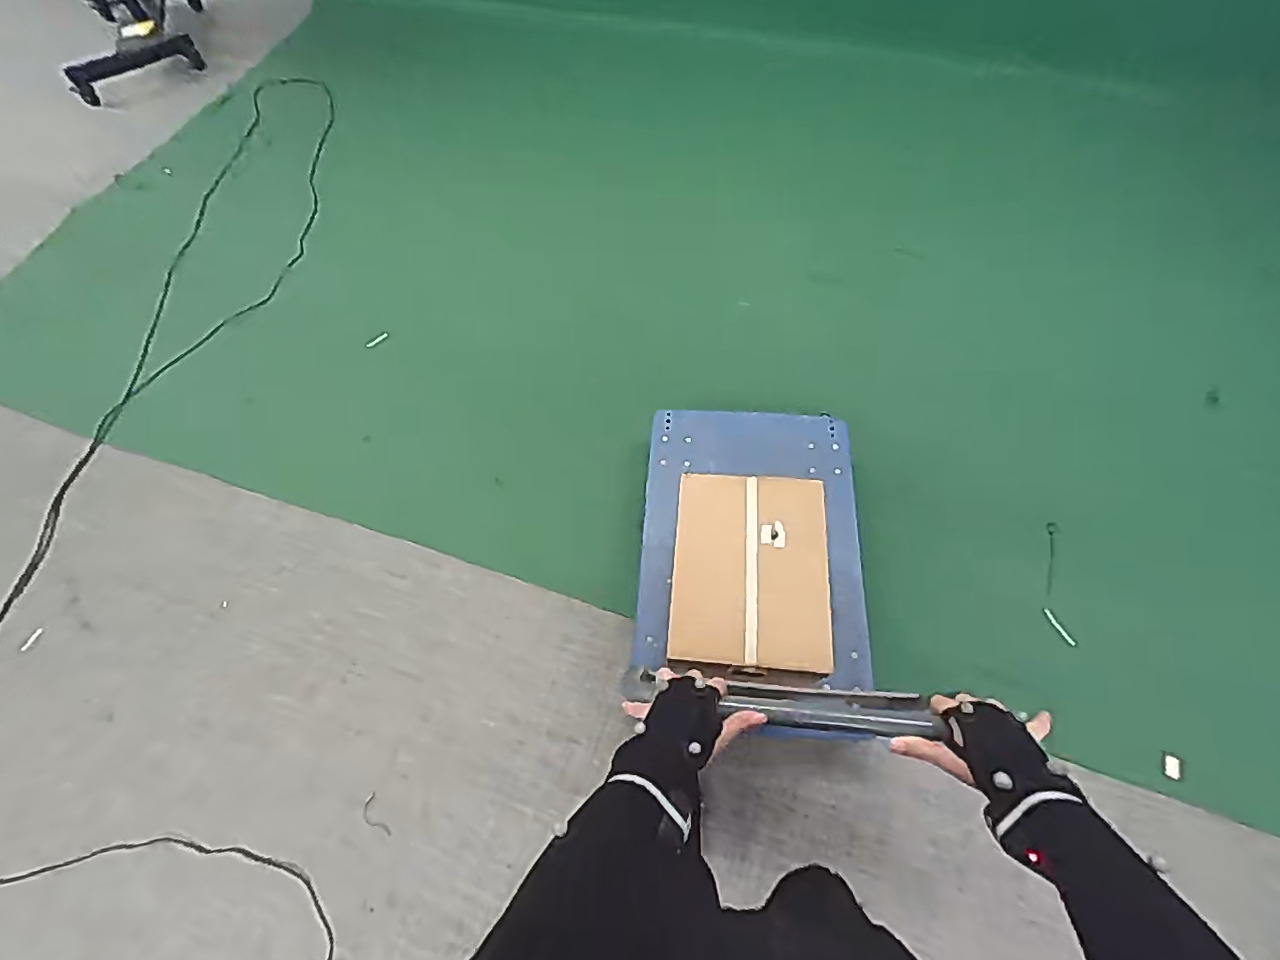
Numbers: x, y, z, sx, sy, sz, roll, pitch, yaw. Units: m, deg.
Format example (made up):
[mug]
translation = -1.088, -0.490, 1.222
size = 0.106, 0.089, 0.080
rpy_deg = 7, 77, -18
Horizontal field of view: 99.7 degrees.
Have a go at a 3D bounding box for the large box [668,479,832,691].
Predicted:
[large box]
translation = 0.232, 0.249, 1.243
size = 0.320, 0.320, 0.408
rpy_deg = 3, 62, 5
